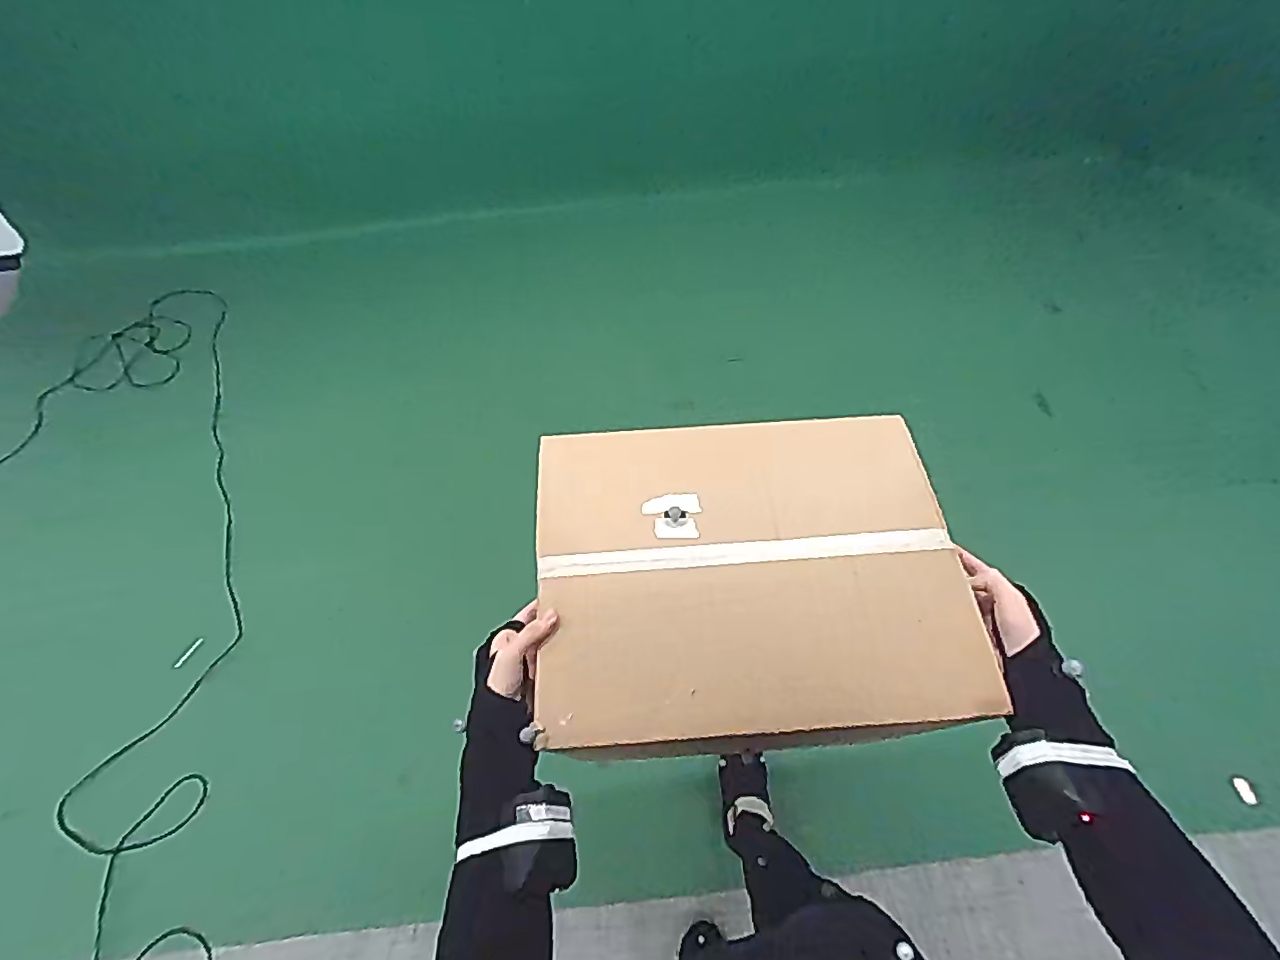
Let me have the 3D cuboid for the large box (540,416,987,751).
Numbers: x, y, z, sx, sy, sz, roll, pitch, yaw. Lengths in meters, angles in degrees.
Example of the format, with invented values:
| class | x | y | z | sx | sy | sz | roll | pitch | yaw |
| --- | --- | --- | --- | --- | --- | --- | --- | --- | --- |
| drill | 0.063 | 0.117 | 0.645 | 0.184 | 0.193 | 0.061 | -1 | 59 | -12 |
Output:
| class | x | y | z | sx | sy | sz | roll | pitch | yaw |
| --- | --- | --- | --- | --- | --- | --- | --- | --- | --- |
| large box | 0.105 | 0.147 | 0.674 | 0.408 | 0.320 | 0.320 | -4 | 60 | 0 |
